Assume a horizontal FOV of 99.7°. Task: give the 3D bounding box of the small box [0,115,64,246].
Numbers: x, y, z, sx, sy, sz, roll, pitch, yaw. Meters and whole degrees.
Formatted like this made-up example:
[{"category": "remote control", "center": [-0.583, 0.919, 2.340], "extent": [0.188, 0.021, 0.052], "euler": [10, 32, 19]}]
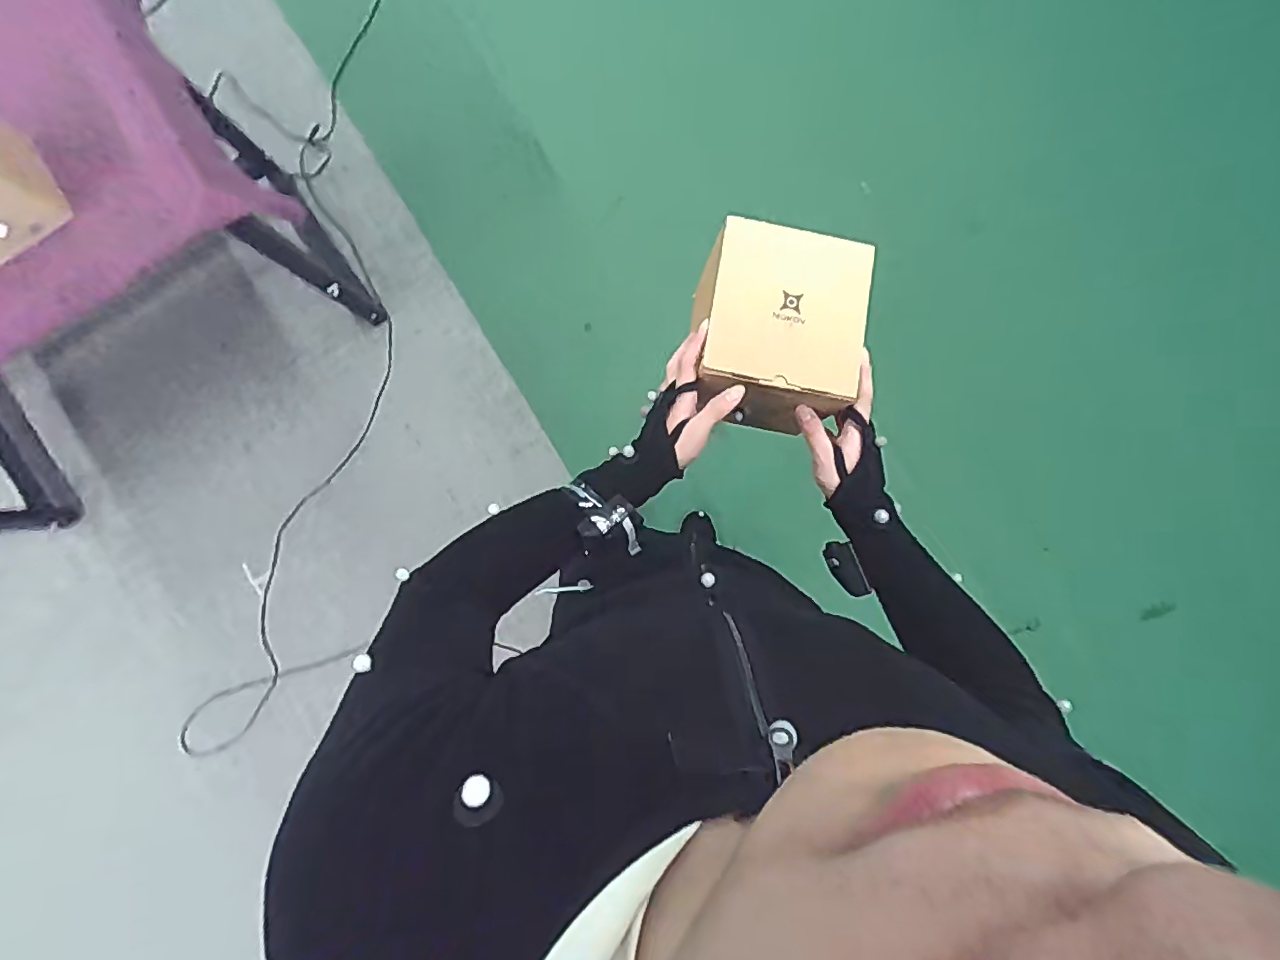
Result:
[{"category": "small box", "center": [-1.098, -0.507, 0.853], "extent": [0.168, 0.176, 0.179], "euler": [-33, 88, 0]}]
